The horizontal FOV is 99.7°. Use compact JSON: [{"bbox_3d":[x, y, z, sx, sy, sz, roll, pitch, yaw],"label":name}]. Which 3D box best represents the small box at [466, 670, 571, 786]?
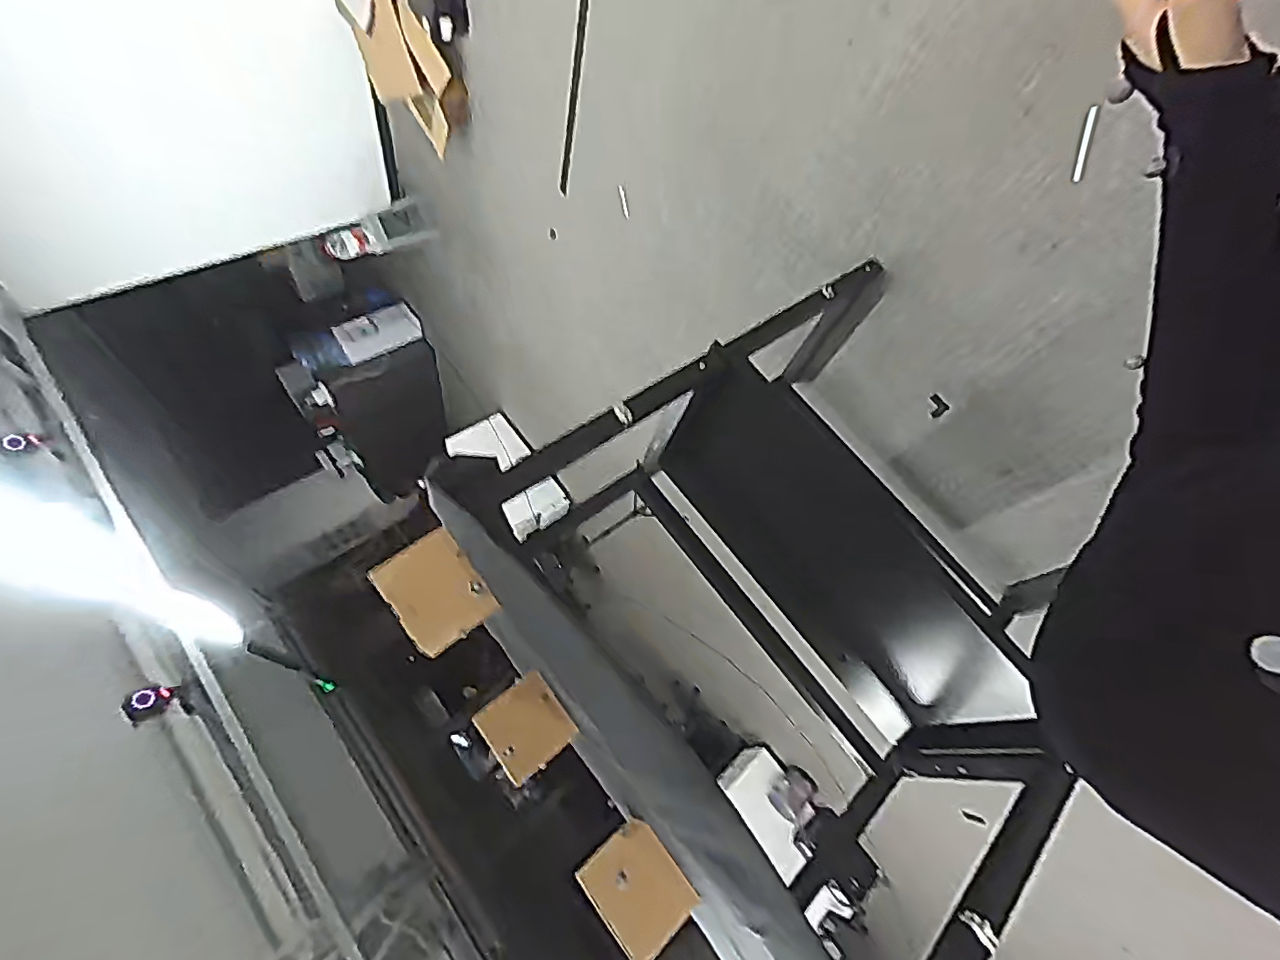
[{"bbox_3d":[-0.274,0.559,1.229,0.168,0.176,0.179,50,153,13],"label":"small box"}]

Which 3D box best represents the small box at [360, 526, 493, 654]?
[{"bbox_3d":[-0.400,0.212,1.046,0.168,0.176,0.179,51,157,10],"label":"small box"}]
